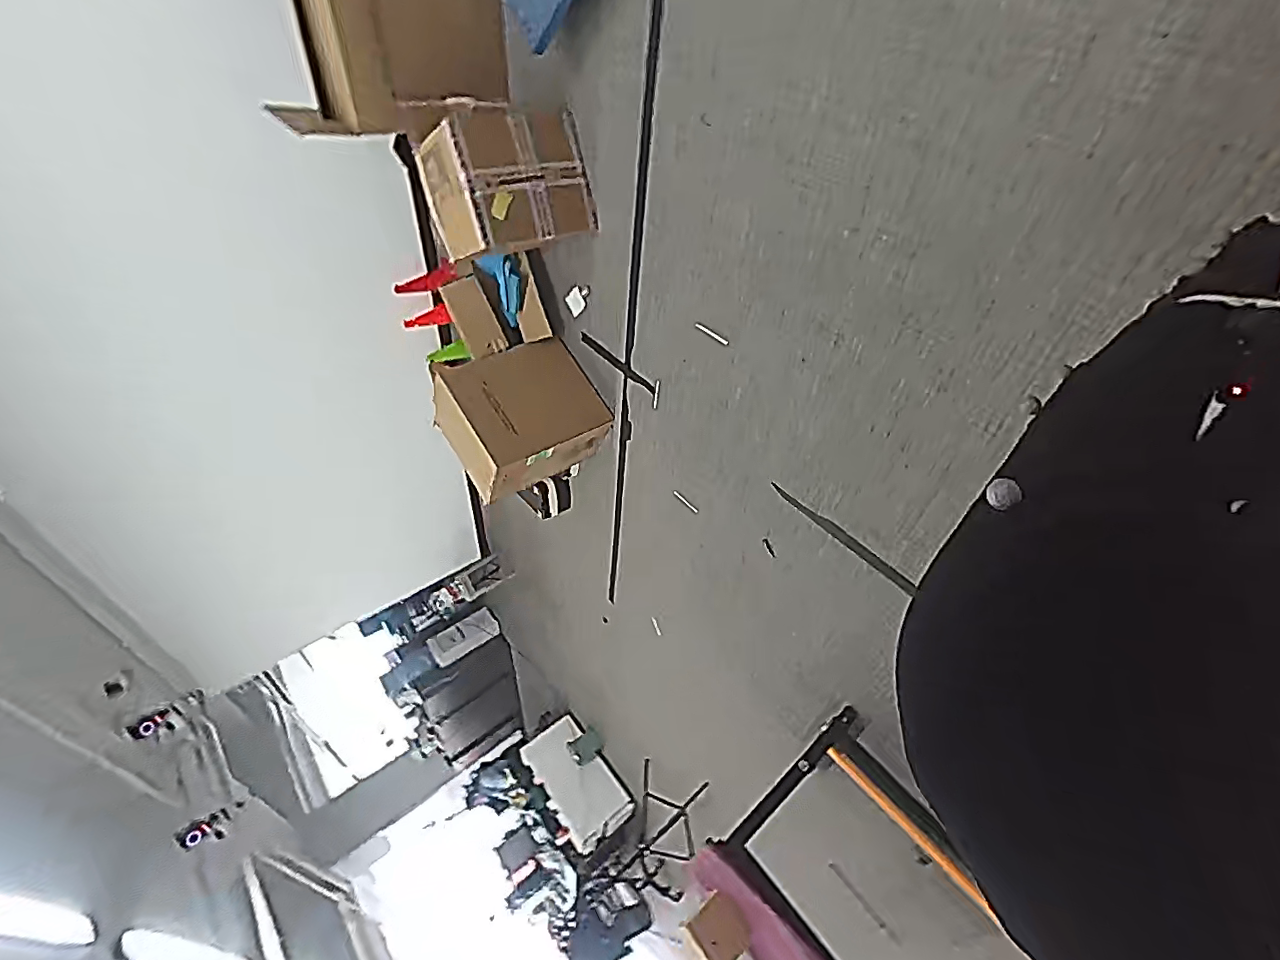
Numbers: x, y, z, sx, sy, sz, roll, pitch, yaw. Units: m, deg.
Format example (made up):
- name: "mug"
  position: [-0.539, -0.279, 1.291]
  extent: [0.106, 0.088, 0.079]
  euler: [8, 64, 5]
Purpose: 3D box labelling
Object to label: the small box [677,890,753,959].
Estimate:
- name: "small box"
  position: [0.258, 1.567, 1.862]
  extent: [0.179, 0.176, 0.168]
  euler: [47, 145, 27]
